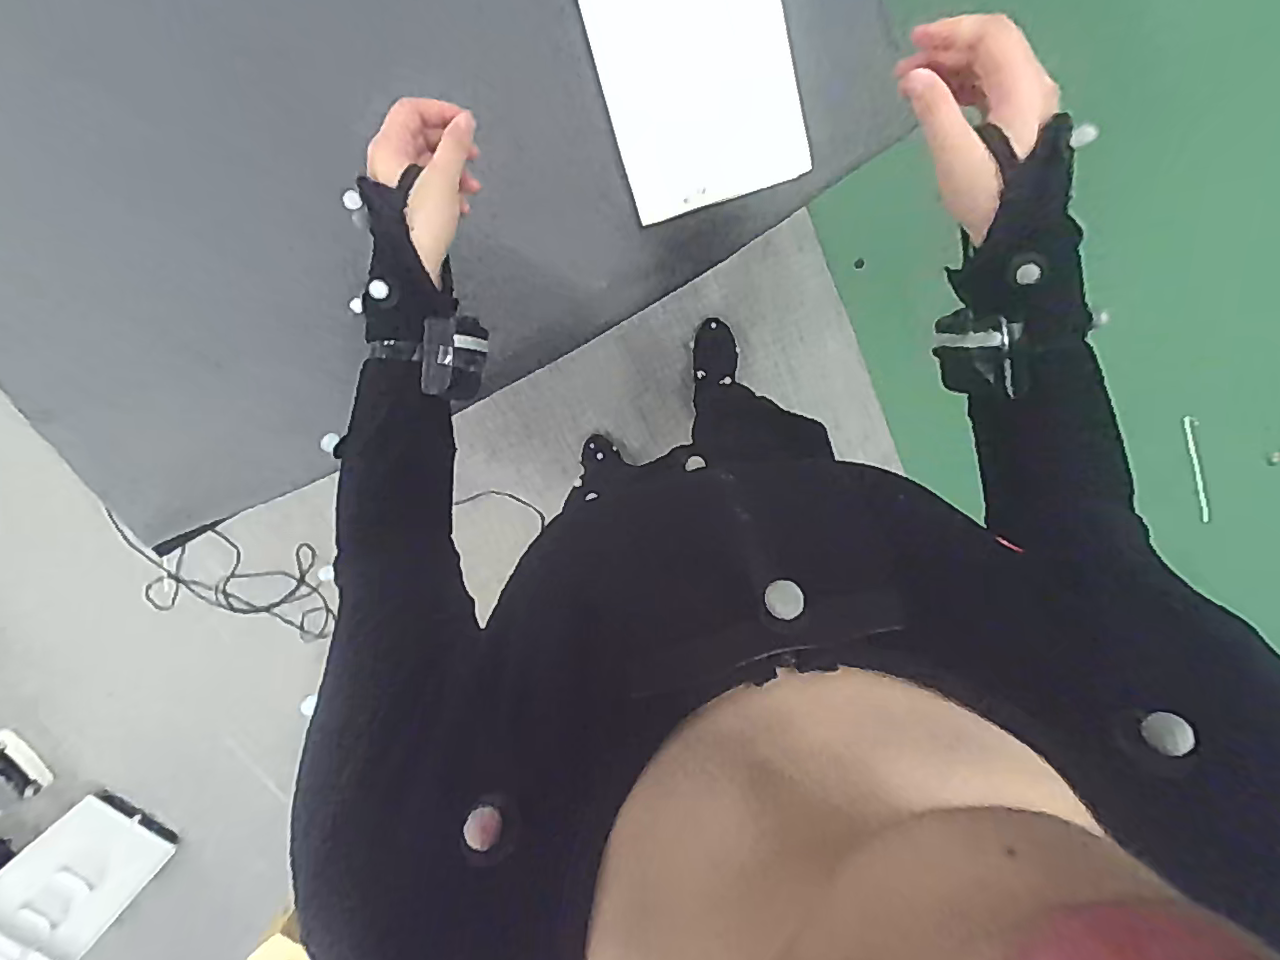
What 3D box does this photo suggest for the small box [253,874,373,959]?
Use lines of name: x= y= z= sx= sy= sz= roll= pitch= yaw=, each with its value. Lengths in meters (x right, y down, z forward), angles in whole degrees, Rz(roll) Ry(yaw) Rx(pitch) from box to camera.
small box: x=-0.864 y=1.200 z=1.444 sx=0.179 sy=0.176 sz=0.168 roll=43 pitch=106 yaw=-11
